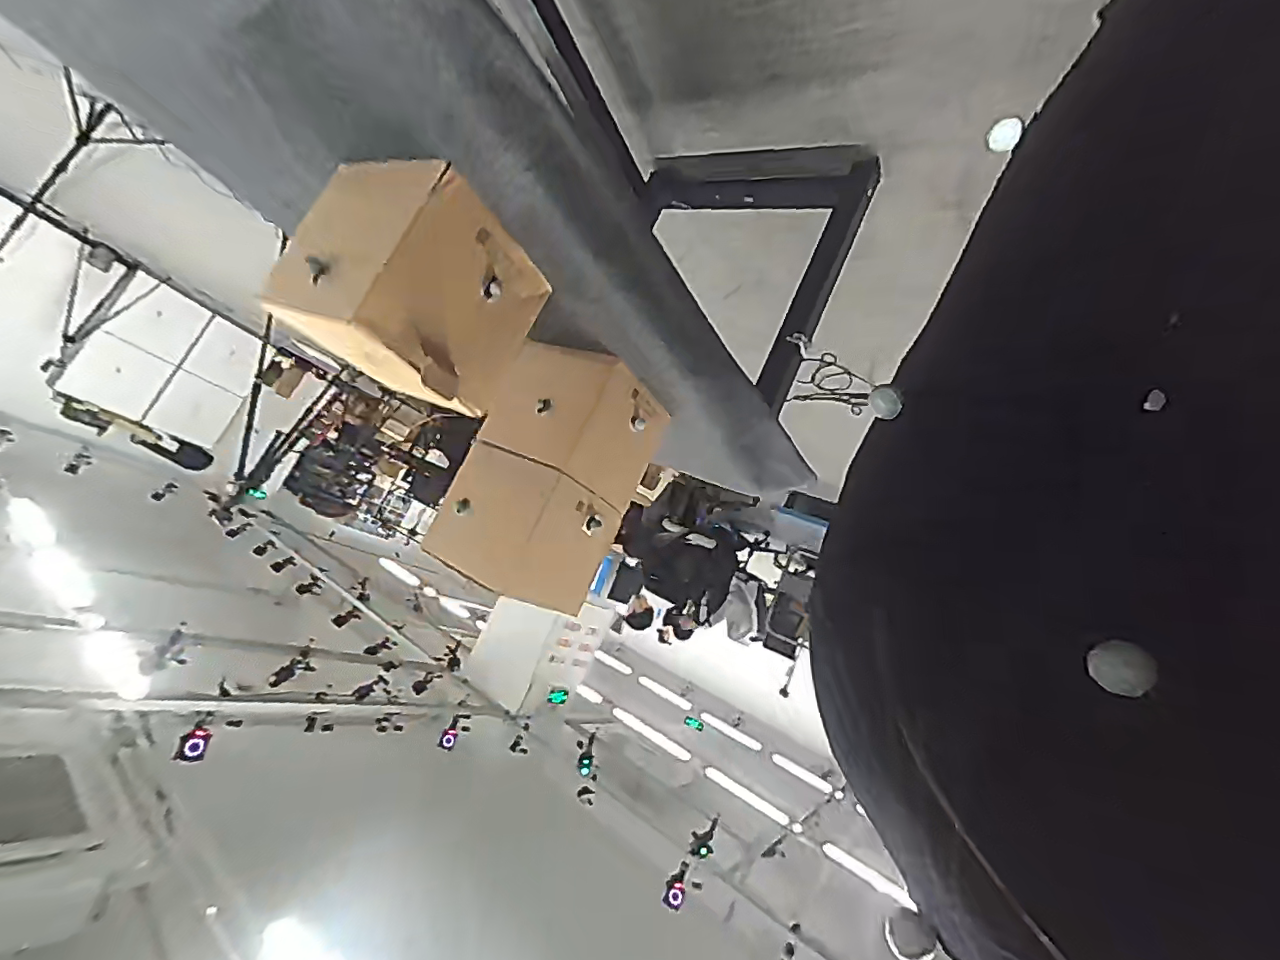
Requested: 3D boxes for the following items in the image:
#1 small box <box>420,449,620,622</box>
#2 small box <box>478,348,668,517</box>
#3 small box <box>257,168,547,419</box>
[{"bbox_3d":[-0.158,0.073,0.751,0.179,0.176,0.168,17,168,34],"label":"small box"},{"bbox_3d":[-0.089,-0.071,0.781,0.179,0.176,0.168,18,167,34],"label":"small box"},{"bbox_3d":[-0.229,-0.189,0.551,0.179,0.176,0.168,19,167,31],"label":"small box"}]
